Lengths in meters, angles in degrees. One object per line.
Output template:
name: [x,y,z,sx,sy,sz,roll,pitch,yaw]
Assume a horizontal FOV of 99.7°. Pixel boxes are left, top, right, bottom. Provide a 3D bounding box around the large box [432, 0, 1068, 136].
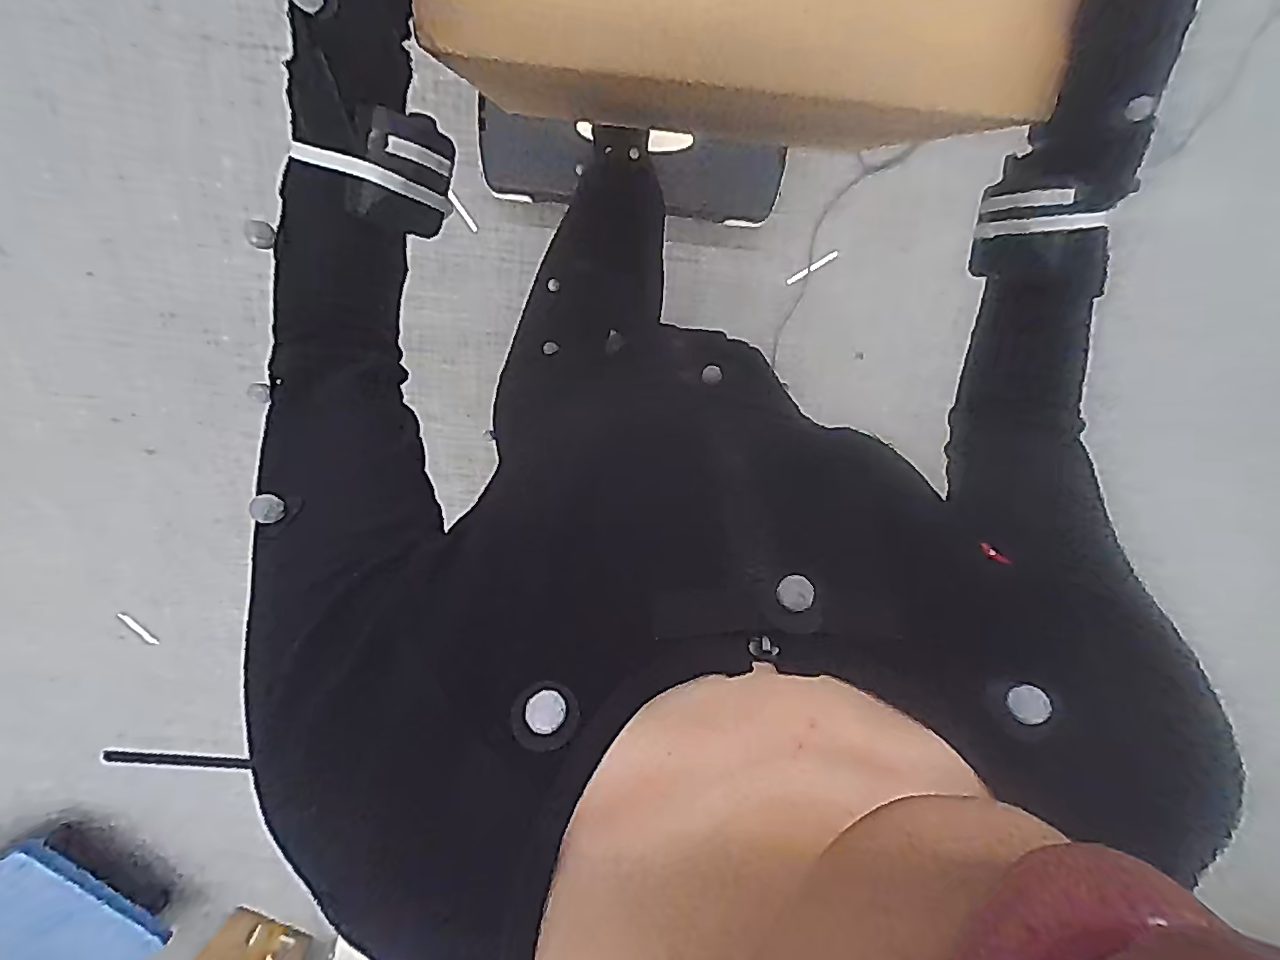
large box: [0.068,-0.467,0.407,0.408,0.320,0.320,2,119,-6]
